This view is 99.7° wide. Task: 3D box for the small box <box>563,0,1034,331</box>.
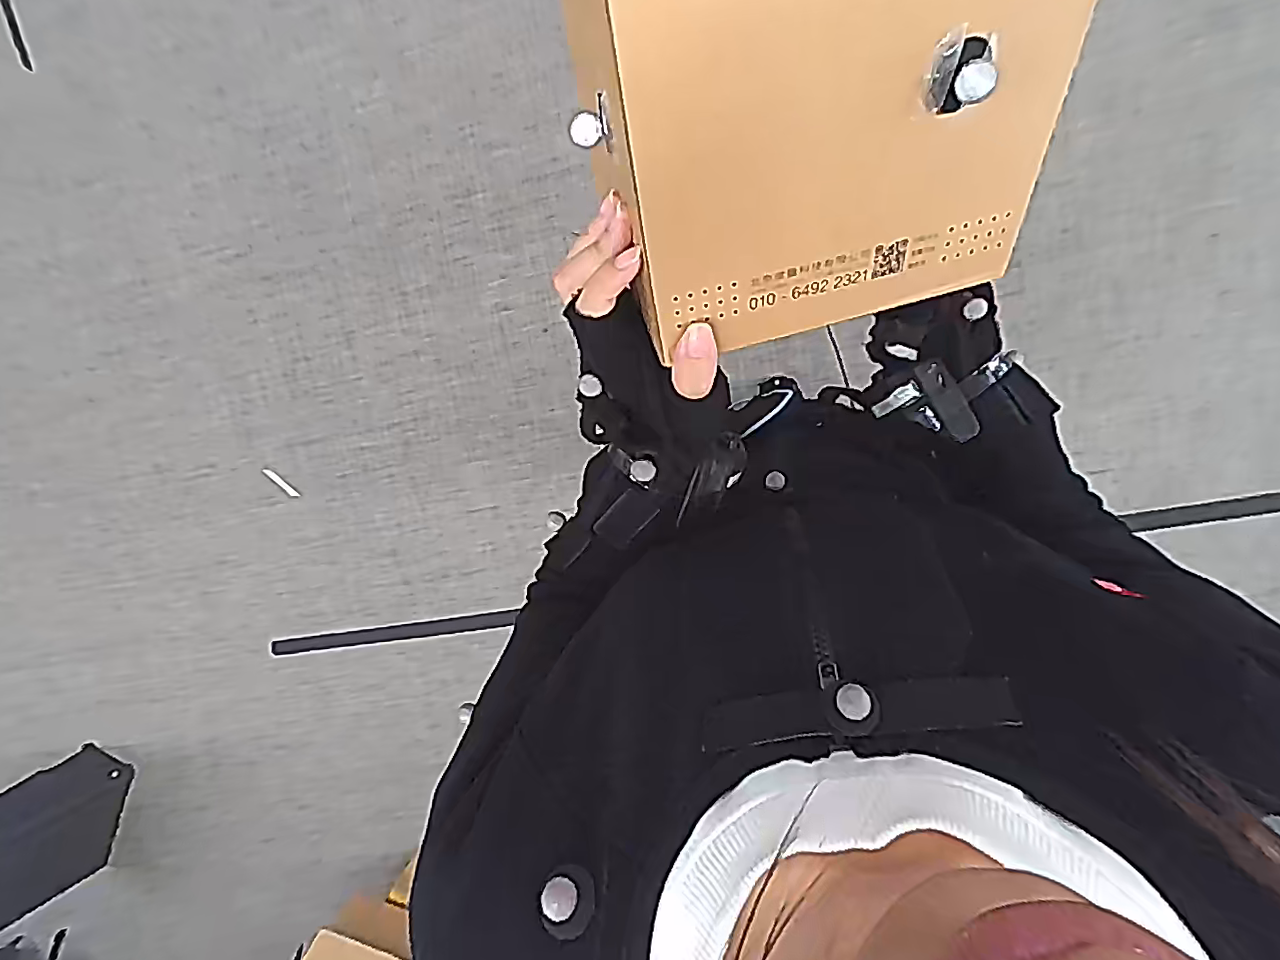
[{"bbox_3d":[0.061,-0.192,0.270,0.168,0.179,0.176,-14,136,-1],"label":"small box"}]
